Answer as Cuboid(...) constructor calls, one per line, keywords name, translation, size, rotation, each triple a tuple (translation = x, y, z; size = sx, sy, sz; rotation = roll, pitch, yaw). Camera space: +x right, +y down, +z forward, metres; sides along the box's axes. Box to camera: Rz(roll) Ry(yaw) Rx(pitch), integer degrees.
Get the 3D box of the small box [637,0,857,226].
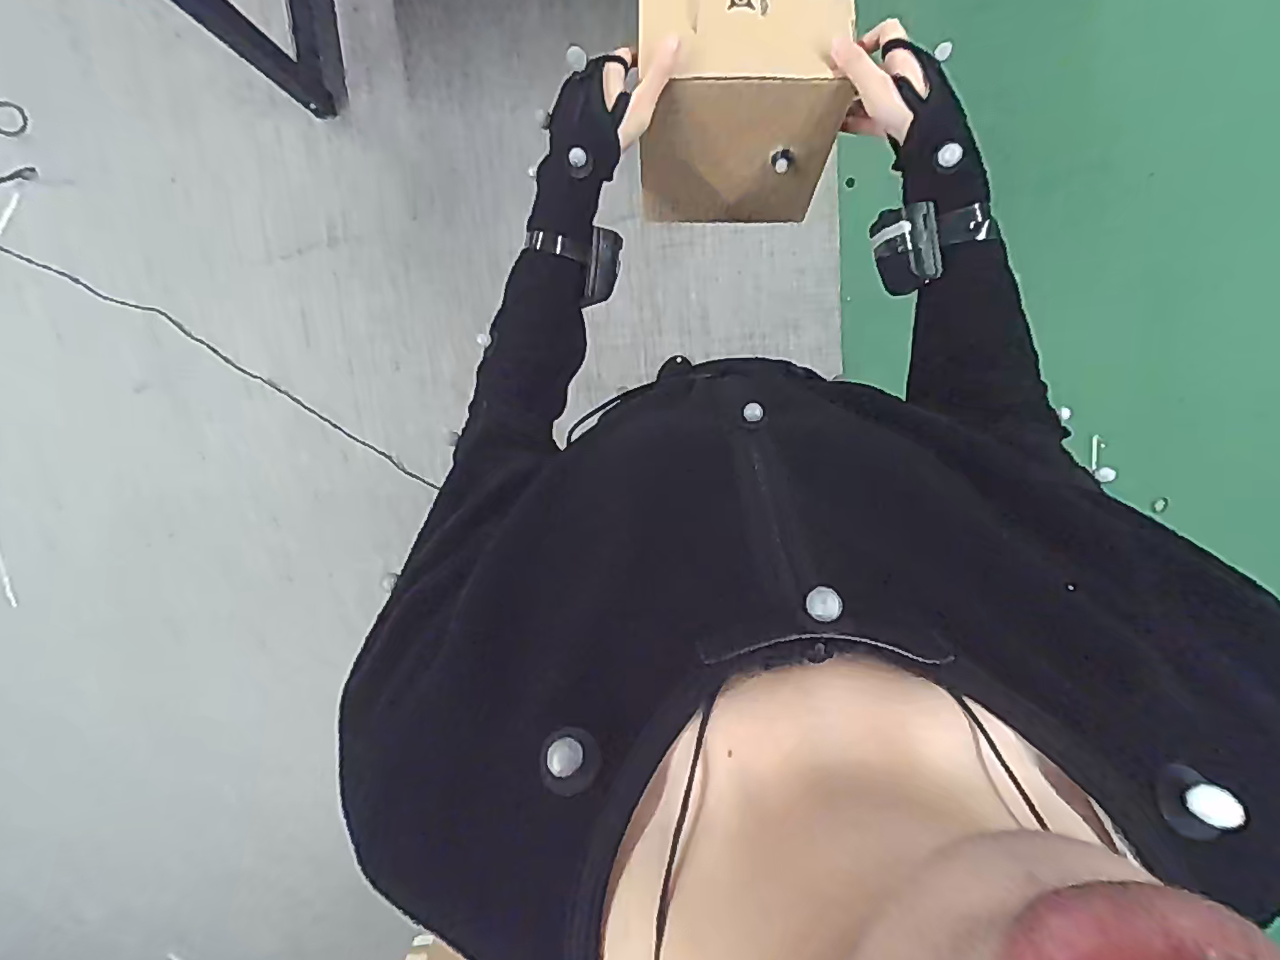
Cuboid(name="small box", translation=(0.088, -0.368, 0.520), size=(0.179, 0.176, 0.168), rotation=(1, 76, 2))
